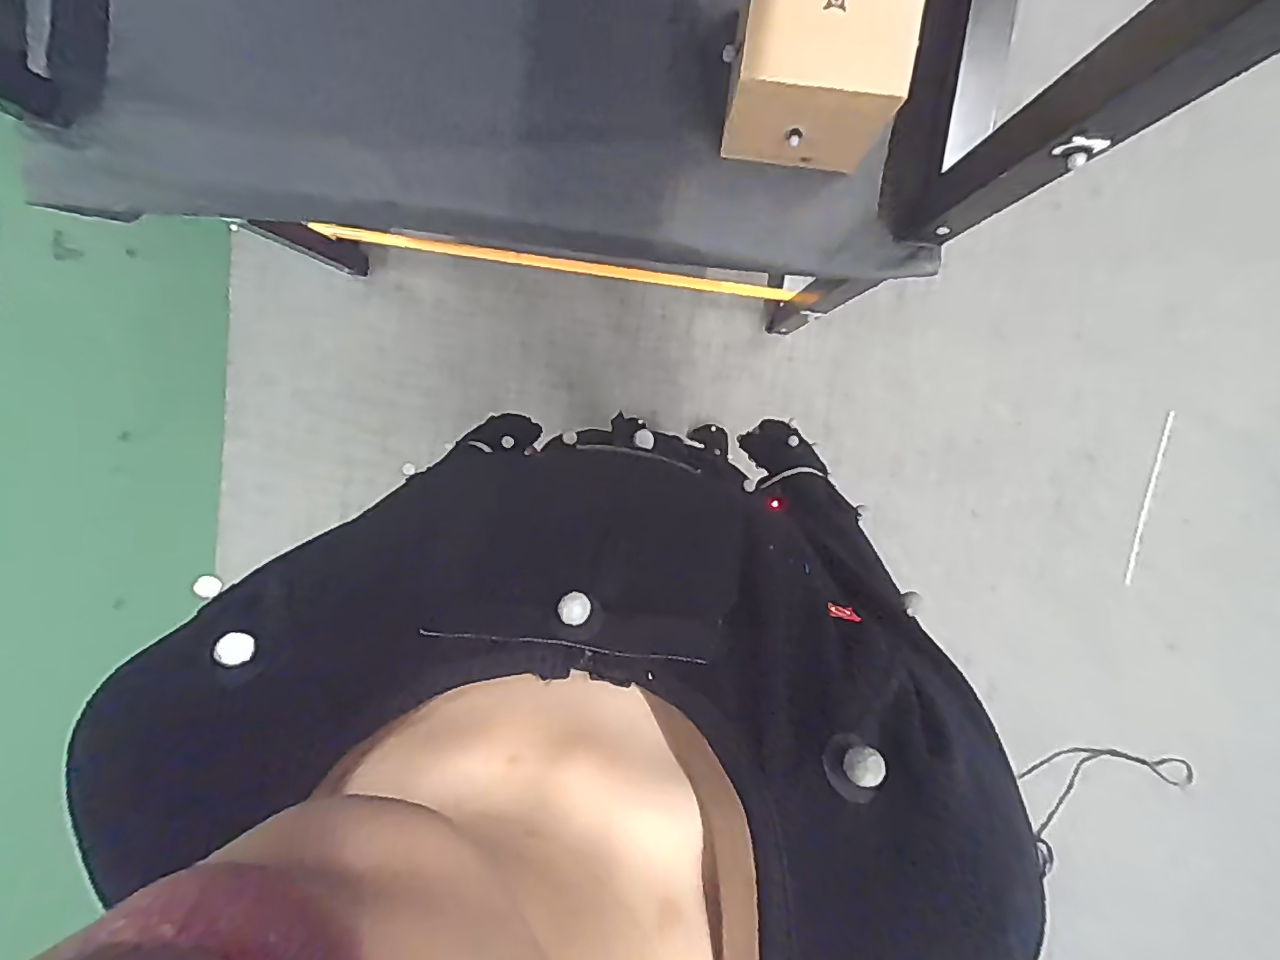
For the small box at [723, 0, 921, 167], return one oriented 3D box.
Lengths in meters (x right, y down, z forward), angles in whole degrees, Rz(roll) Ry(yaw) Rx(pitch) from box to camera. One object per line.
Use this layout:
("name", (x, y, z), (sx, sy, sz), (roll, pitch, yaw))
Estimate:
("small box", (0.190, -0.477, 0.597), (0.168, 0.176, 0.179), (8, 97, 0))
